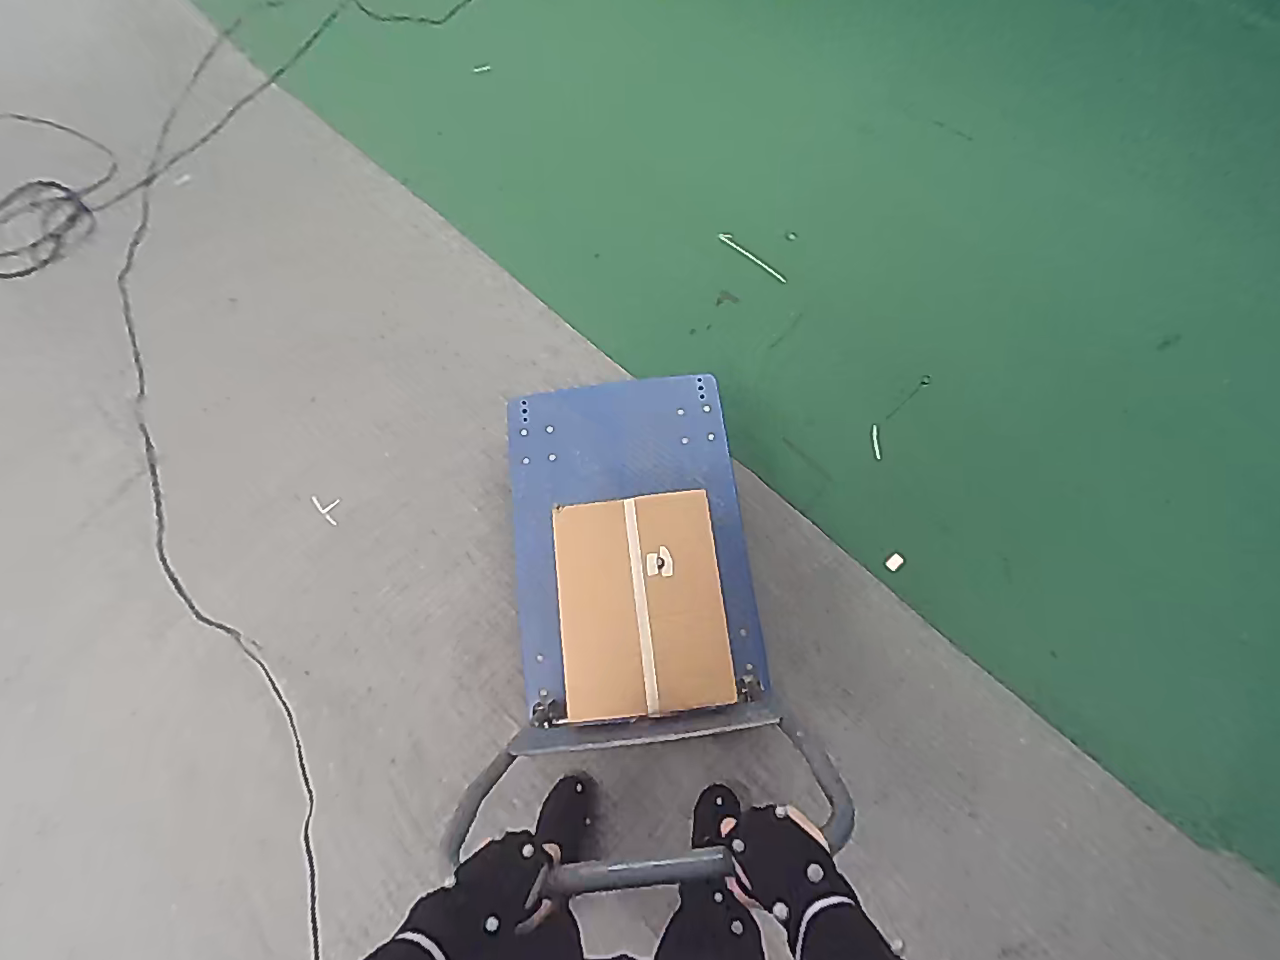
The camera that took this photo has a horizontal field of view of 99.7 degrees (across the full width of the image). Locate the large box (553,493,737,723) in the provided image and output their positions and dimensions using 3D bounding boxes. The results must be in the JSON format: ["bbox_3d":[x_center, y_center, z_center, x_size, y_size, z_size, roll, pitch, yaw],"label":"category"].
[{"bbox_3d":[0.009,0.275,1.178,0.320,0.320,0.408,-7,74,0],"label":"large box"}]
